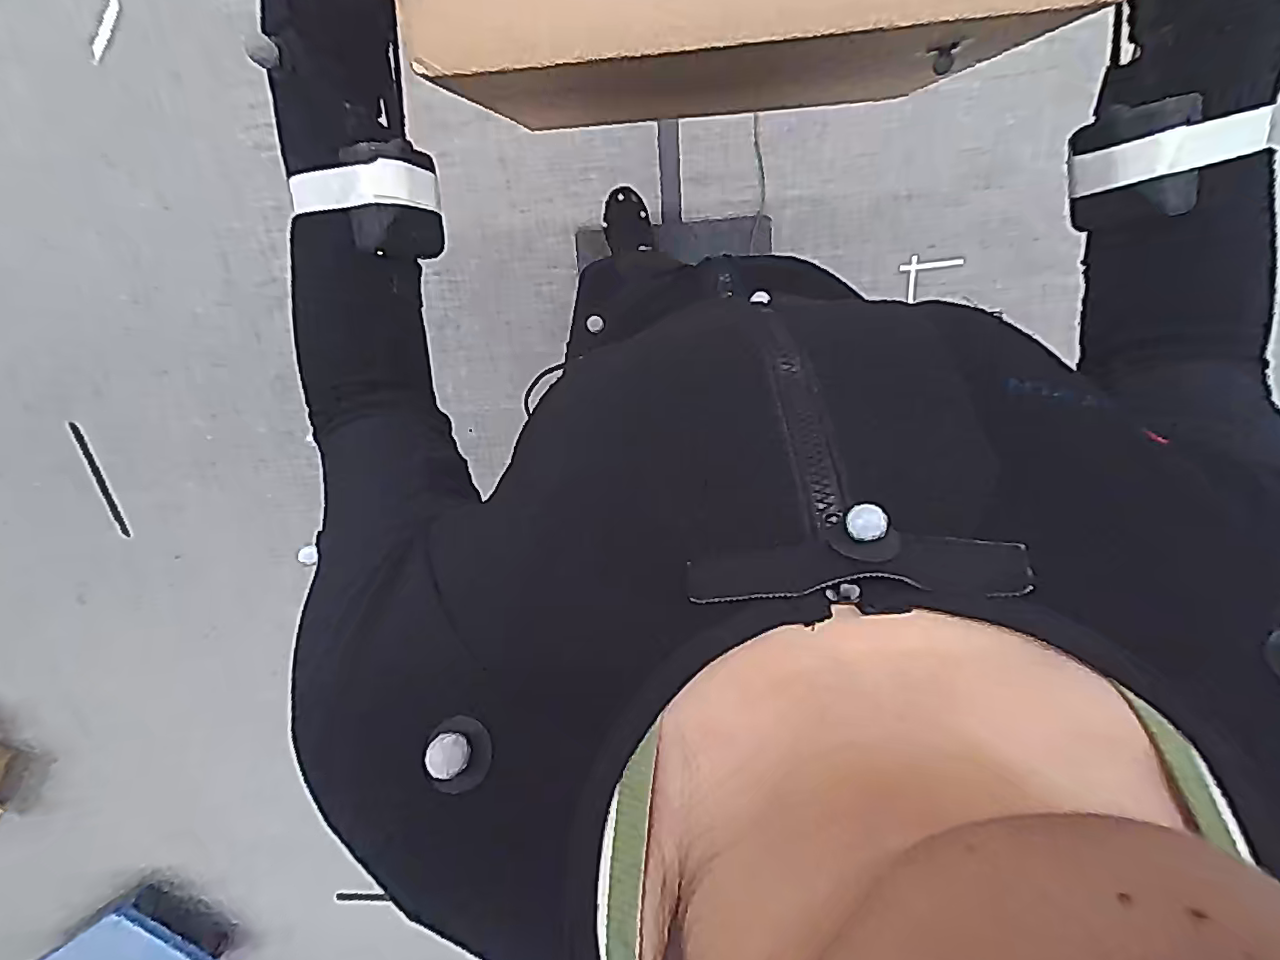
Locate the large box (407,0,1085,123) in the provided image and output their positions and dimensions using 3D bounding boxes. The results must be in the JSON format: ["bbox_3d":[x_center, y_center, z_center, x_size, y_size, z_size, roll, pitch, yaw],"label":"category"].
[{"bbox_3d":[0.058,-0.465,0.381,0.408,0.320,0.320,-3,117,4],"label":"large box"}]

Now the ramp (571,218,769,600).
[{"bbox_3d":[0.091,-0.154,1.459,0.509,0.206,0.991,-4,111,5],"label":"ramp"}]
